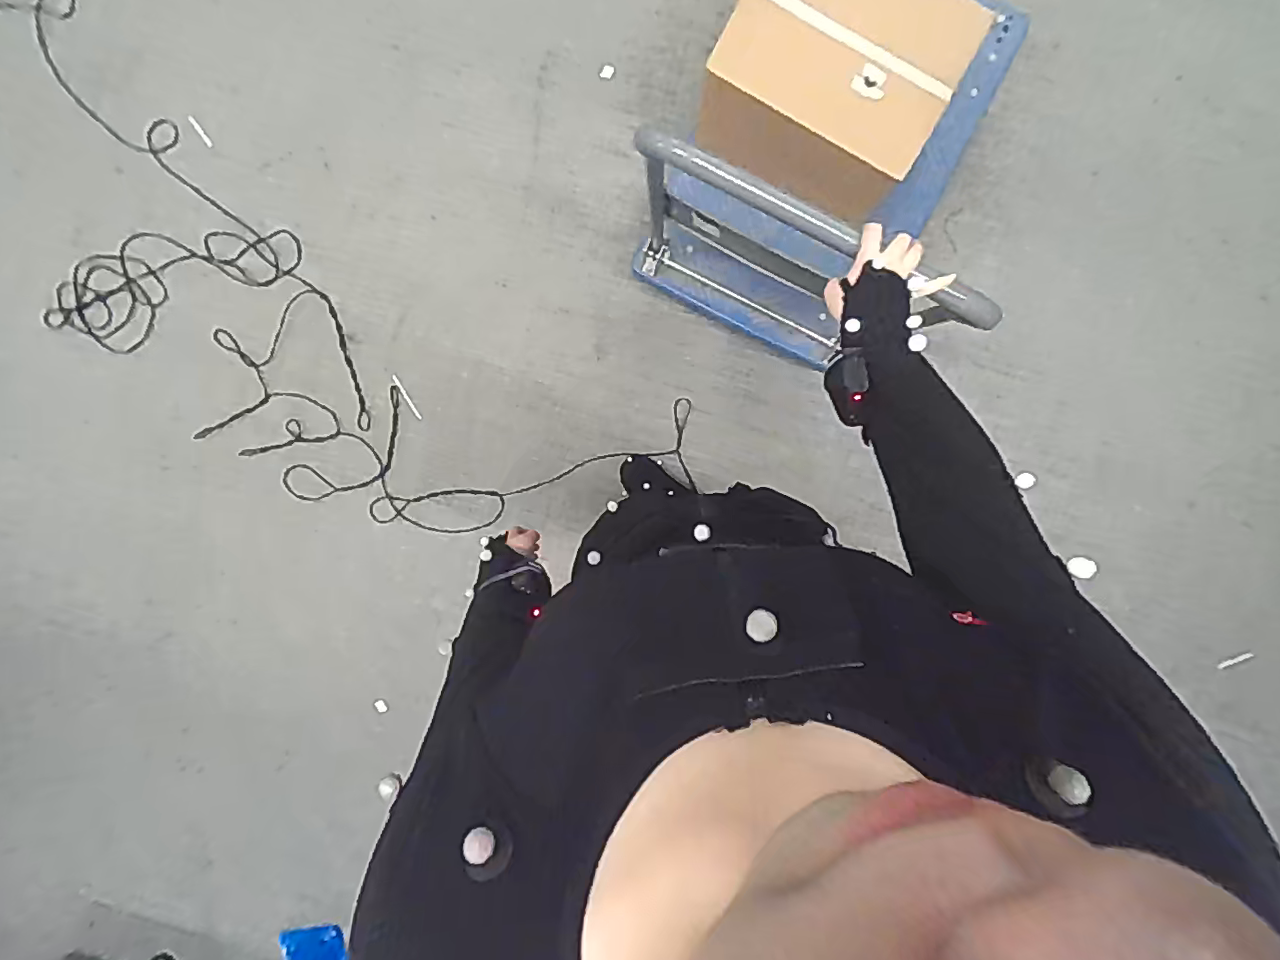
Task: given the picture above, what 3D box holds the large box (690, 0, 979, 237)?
[{"bbox_3d":[0.355,-0.779,1.107,0.408,0.320,0.320,28,96,-2],"label":"large box"}]
